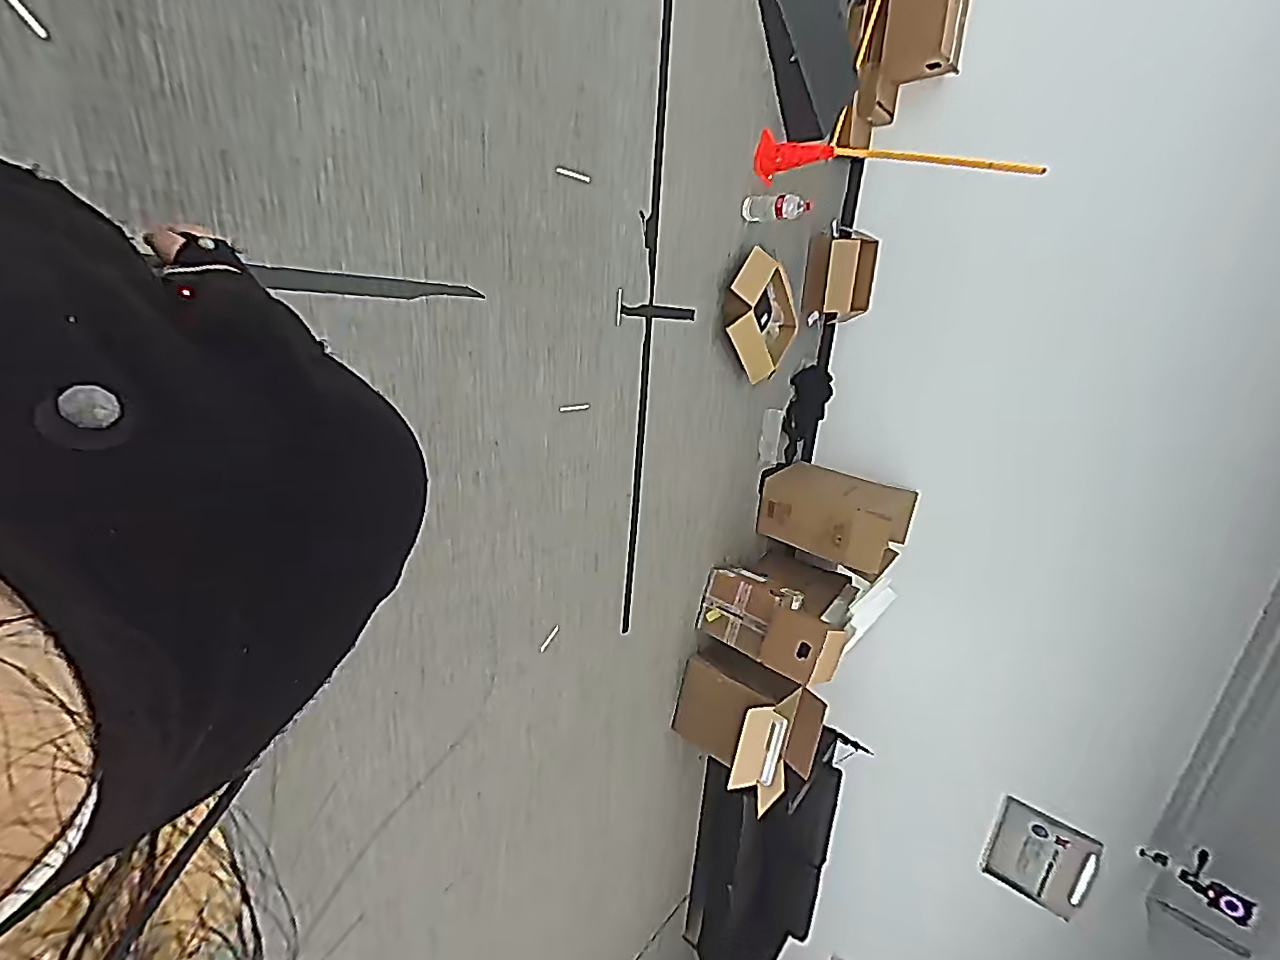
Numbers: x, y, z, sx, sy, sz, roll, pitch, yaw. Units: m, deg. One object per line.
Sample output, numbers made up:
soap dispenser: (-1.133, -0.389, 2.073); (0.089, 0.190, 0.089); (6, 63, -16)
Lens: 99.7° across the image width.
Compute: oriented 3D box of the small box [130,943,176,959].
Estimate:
small box: (-0.985, 1.072, 1.051); (0.168, 0.176, 0.179); (-23, 122, -45)

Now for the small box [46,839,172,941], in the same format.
small box: (-1.229, 0.983, 1.254); (0.168, 0.176, 0.179); (-22, 121, -46)

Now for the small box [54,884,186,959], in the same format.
small box: (-1.104, 1.028, 1.157); (0.168, 0.176, 0.179); (-23, 123, -45)
